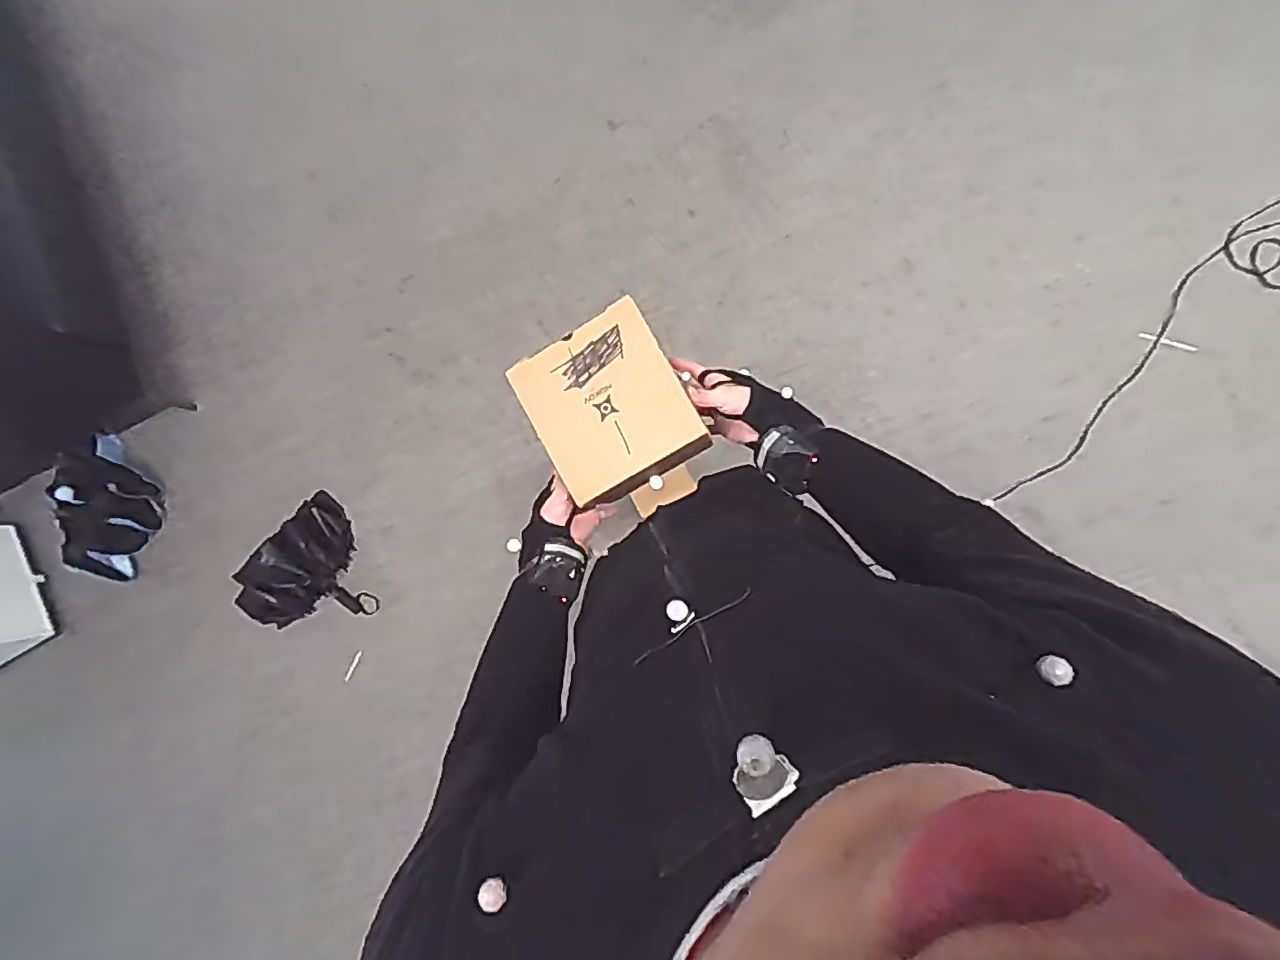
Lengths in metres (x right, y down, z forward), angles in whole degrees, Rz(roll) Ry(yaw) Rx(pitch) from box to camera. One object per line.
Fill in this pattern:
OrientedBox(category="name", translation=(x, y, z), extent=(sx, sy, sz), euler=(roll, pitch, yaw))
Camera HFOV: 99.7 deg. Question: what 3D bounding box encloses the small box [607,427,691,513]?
OrientedBox(category="small box", translation=(0.030, -0.022, 1.481), extent=(0.168, 0.176, 0.179), euler=(-29, 85, 6))
